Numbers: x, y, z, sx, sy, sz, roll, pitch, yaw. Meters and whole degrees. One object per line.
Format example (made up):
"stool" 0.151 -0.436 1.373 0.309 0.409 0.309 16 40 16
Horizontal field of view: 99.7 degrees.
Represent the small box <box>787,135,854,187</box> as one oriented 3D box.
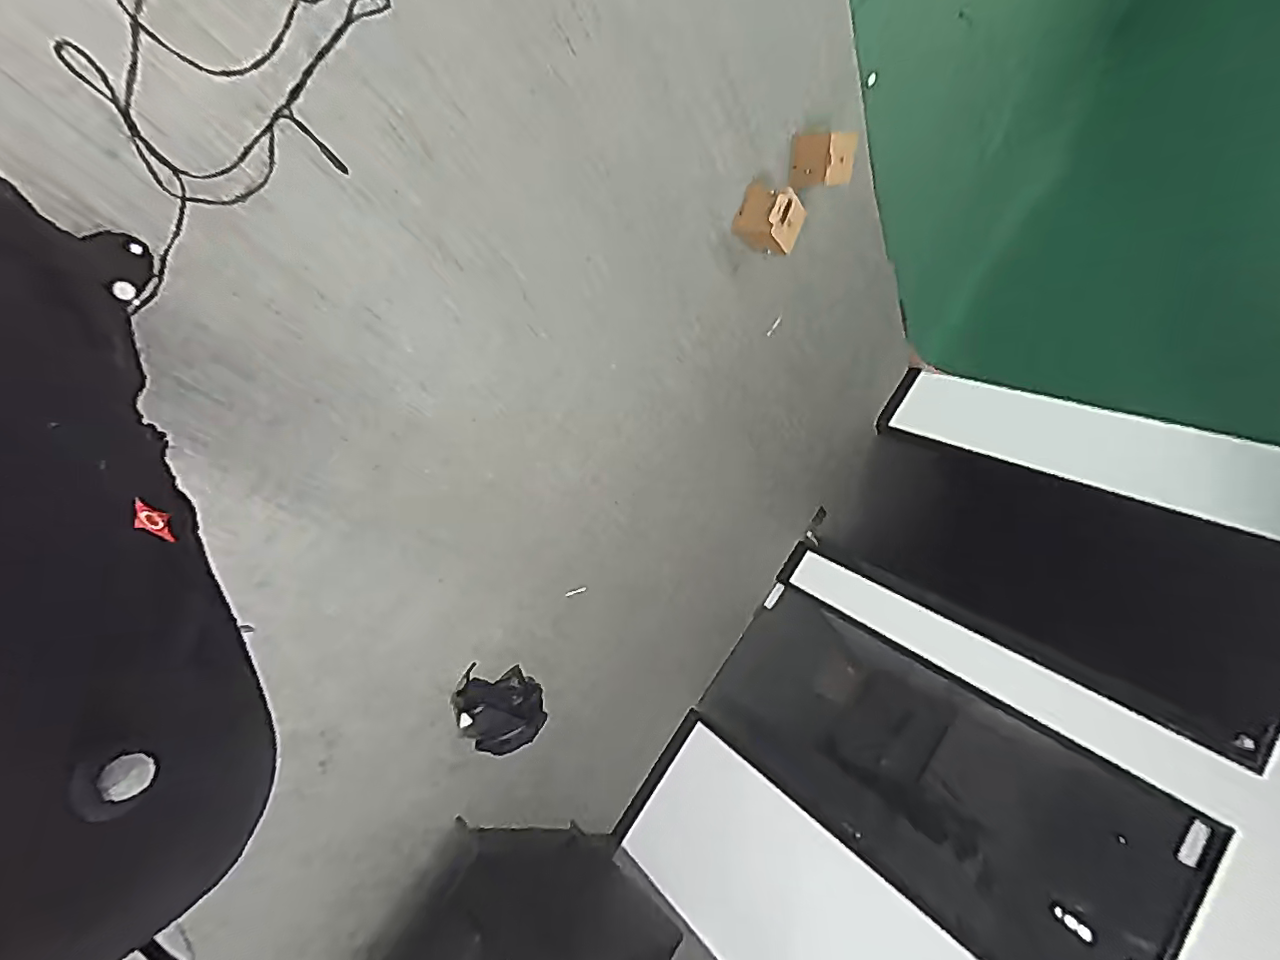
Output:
"small box" 0.677 -1.204 2.045 0.179 0.176 0.168 -27 130 -36
